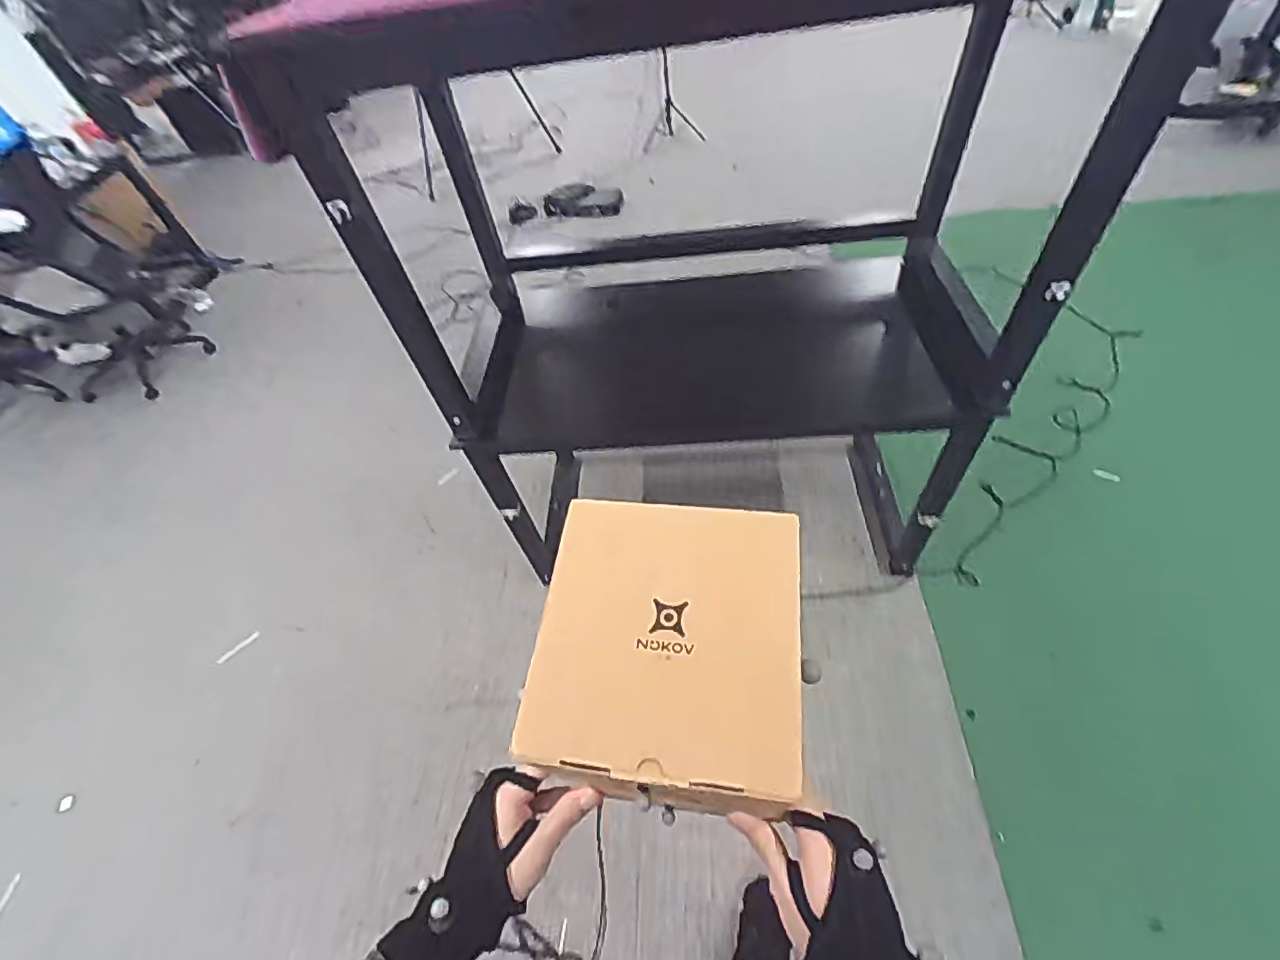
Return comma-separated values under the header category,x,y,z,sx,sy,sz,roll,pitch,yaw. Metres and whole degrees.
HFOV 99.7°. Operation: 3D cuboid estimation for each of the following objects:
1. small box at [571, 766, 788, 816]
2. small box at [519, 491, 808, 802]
category,x,y,z,sx,sy,sz,roll,pitch,yaw
small box,0.049,0.226,0.538,0.179,0.176,0.168,3,57,10
small box,0.029,0.129,0.409,0.168,0.176,0.179,3,58,9
